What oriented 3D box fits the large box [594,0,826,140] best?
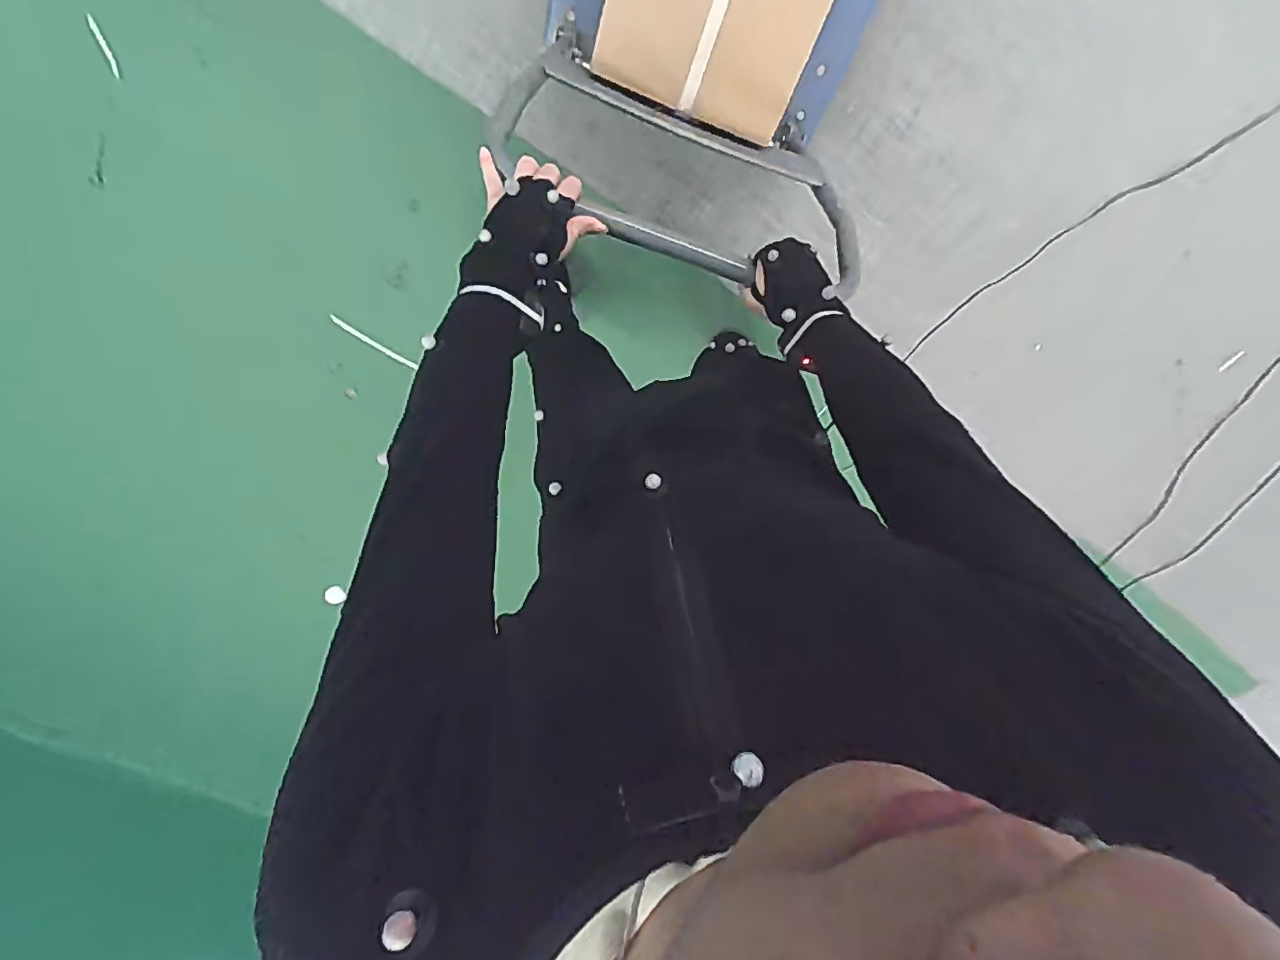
[{"bbox_3d":[0.136,-0.845,0.876,0.320,0.320,0.408,16,129,-12],"label":"large box"}]
